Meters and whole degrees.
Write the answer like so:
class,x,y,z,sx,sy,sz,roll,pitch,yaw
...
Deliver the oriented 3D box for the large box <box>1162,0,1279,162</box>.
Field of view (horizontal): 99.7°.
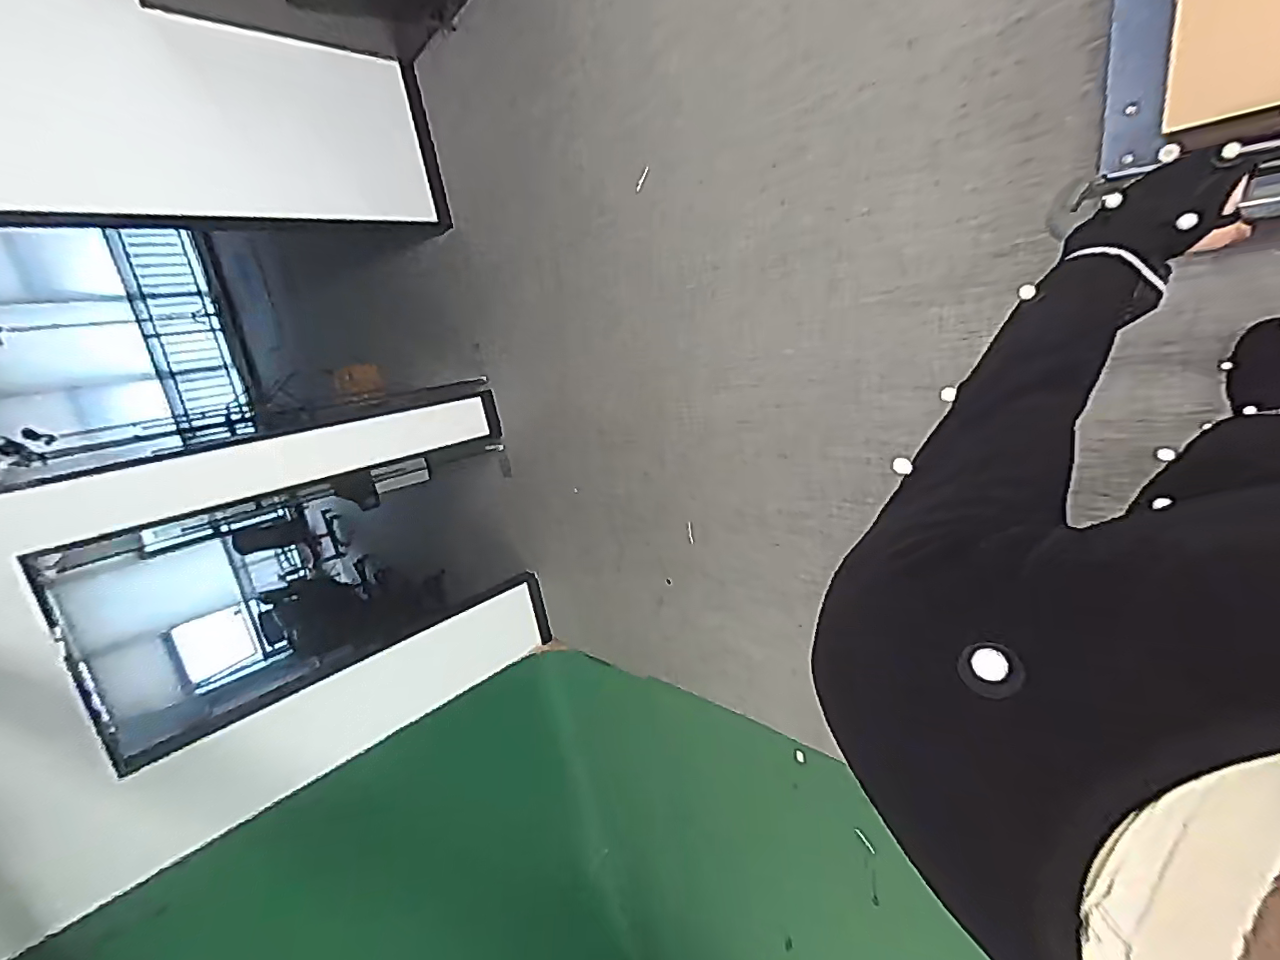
class,x,y,z,sx,sy,sz,roll,pitch,yaw
large box,0.923,-0.690,0.698,0.320,0.320,0.408,9,113,45
